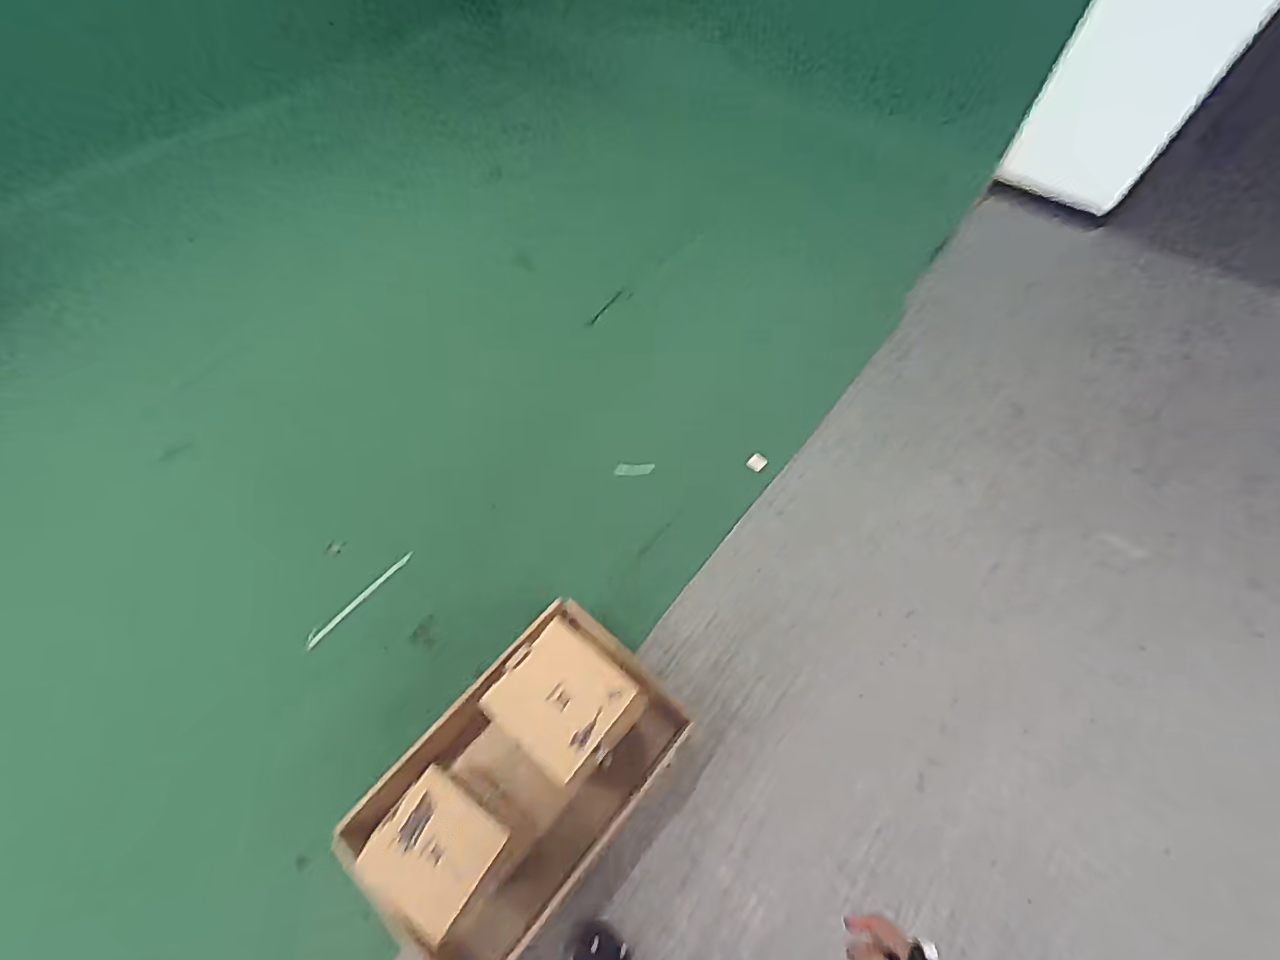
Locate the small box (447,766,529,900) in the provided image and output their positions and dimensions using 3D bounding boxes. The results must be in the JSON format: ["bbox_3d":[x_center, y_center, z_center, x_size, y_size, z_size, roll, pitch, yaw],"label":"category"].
[{"bbox_3d":[-0.337,0.688,1.042,0.179,0.176,0.168,33,63,16],"label":"small box"}]

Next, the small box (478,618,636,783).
[{"bbox_3d":[-0.124,0.358,0.863,0.179,0.176,0.168,35,65,19],"label":"small box"}]

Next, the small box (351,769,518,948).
[{"bbox_3d":[-0.327,0.614,0.895,0.179,0.176,0.168,31,62,14],"label":"small box"}]
